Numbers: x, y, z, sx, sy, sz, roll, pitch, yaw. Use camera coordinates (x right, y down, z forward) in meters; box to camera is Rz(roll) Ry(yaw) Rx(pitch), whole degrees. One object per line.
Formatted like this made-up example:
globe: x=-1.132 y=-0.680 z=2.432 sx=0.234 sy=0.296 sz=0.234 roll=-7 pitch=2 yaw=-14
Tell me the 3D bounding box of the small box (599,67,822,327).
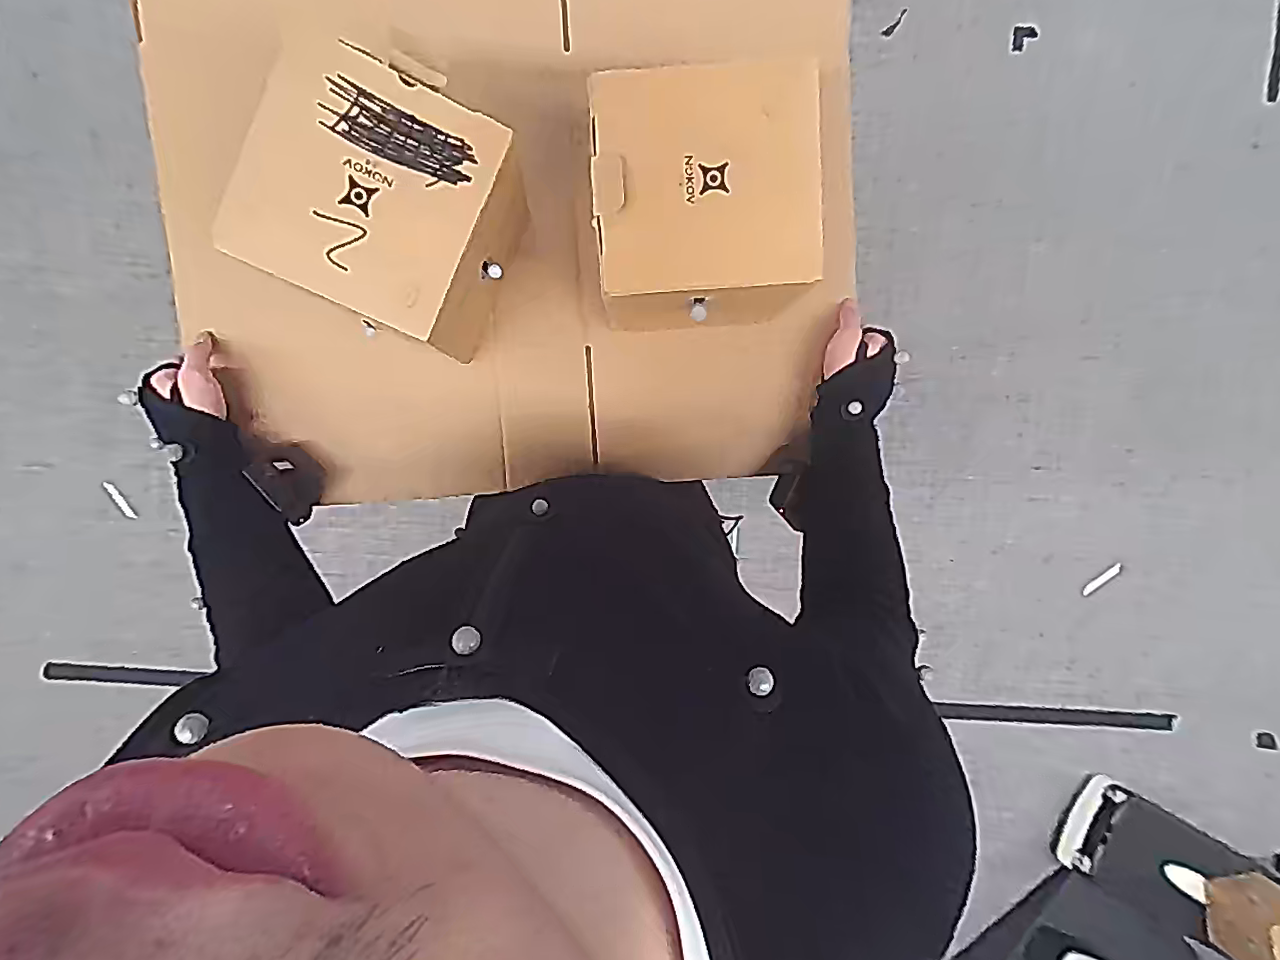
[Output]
small box: x=0.058 y=-0.247 z=0.512 sx=0.179 sy=0.176 sz=0.168 roll=-3 pitch=95 yaw=1
